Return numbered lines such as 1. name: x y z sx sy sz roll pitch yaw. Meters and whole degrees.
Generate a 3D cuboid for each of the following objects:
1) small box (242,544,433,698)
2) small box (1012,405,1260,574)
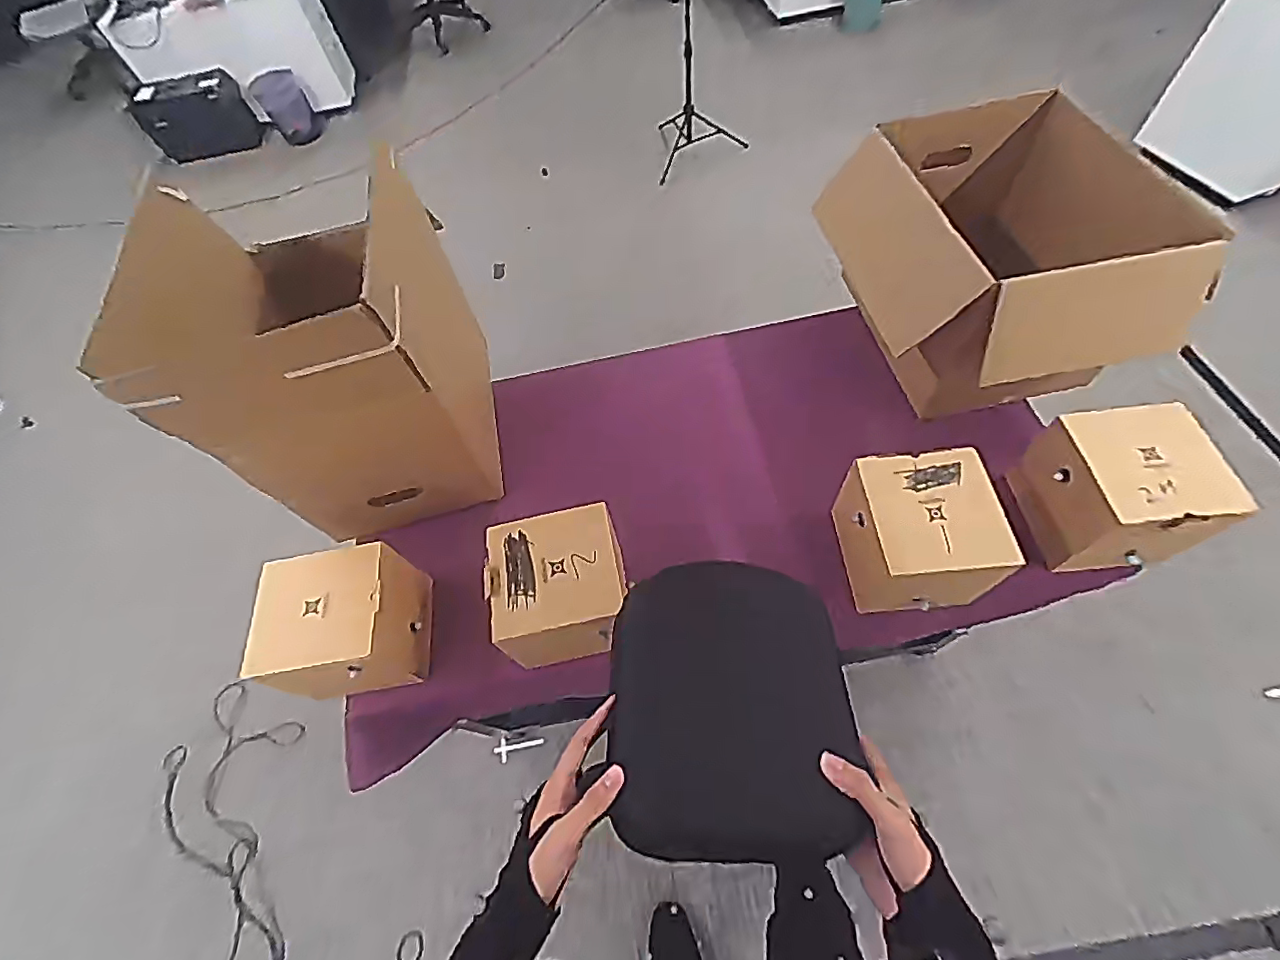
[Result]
1. small box: -0.430 0.214 0.801 0.179 0.176 0.168 -10 59 0
2. small box: 0.679 0.018 0.773 0.168 0.176 0.179 -6 59 5
